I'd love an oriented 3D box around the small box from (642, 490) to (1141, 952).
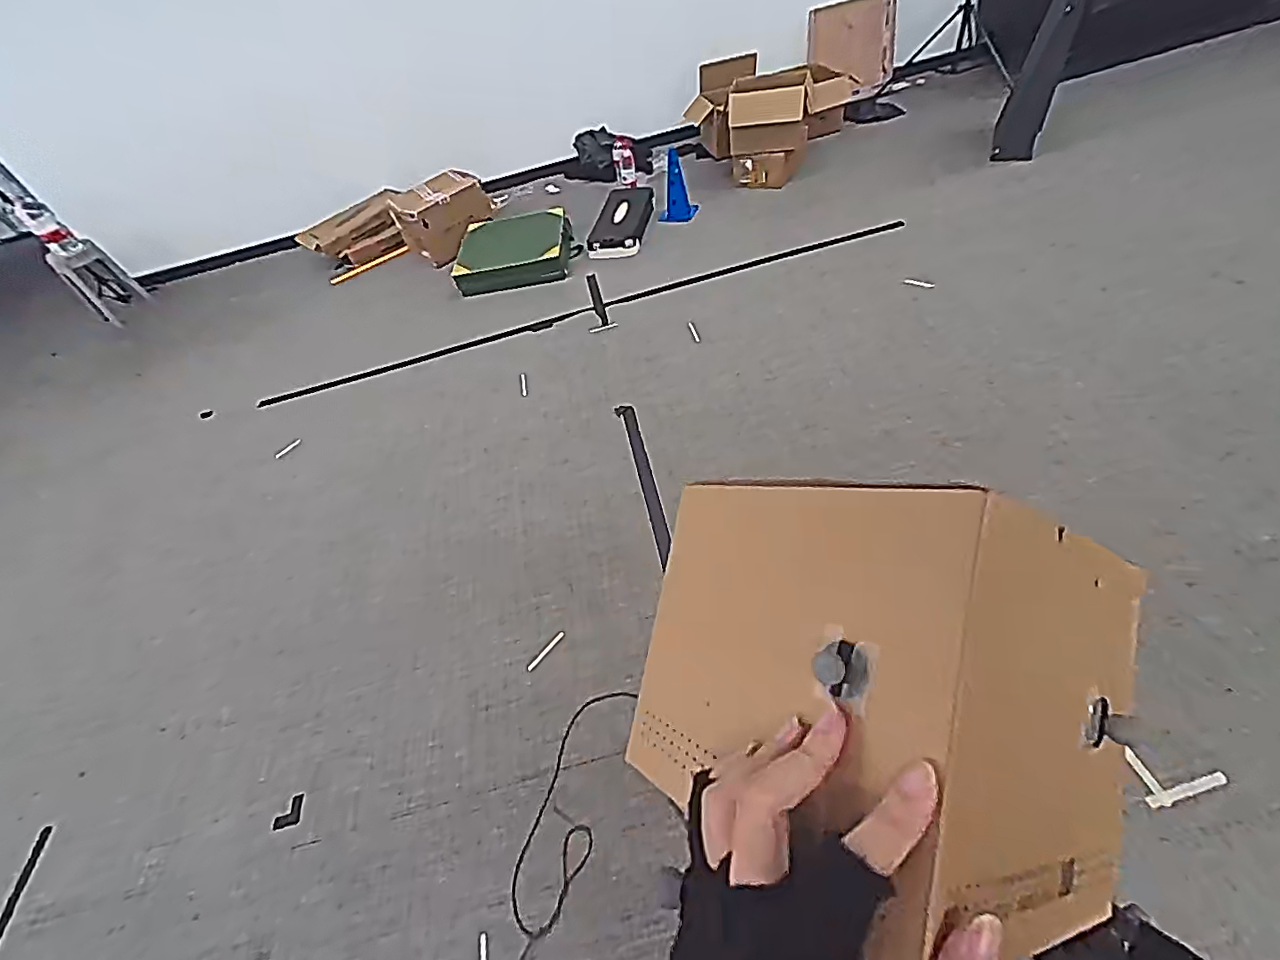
[{"bbox_3d":[0.124,0.107,0.292,0.179,0.168,0.176,-1,74,57],"label":"small box"}]
